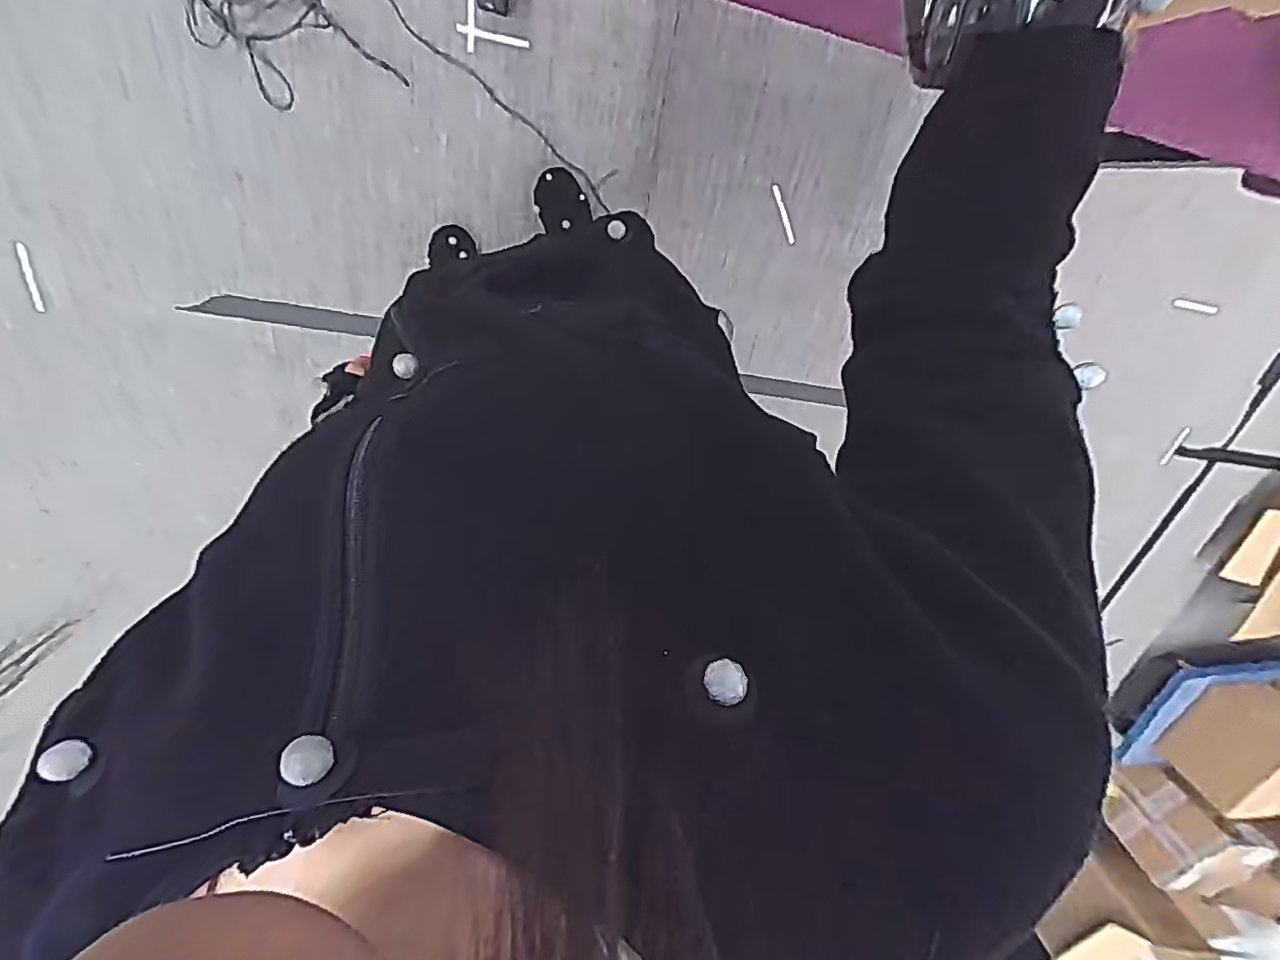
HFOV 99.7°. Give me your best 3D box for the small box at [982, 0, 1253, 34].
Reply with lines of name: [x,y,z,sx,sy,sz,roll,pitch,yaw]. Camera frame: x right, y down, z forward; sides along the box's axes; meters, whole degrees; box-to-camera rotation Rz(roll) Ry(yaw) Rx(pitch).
small box: [0.389,-0.472,0.411,0.179,0.176,0.168,7,119,-13]
